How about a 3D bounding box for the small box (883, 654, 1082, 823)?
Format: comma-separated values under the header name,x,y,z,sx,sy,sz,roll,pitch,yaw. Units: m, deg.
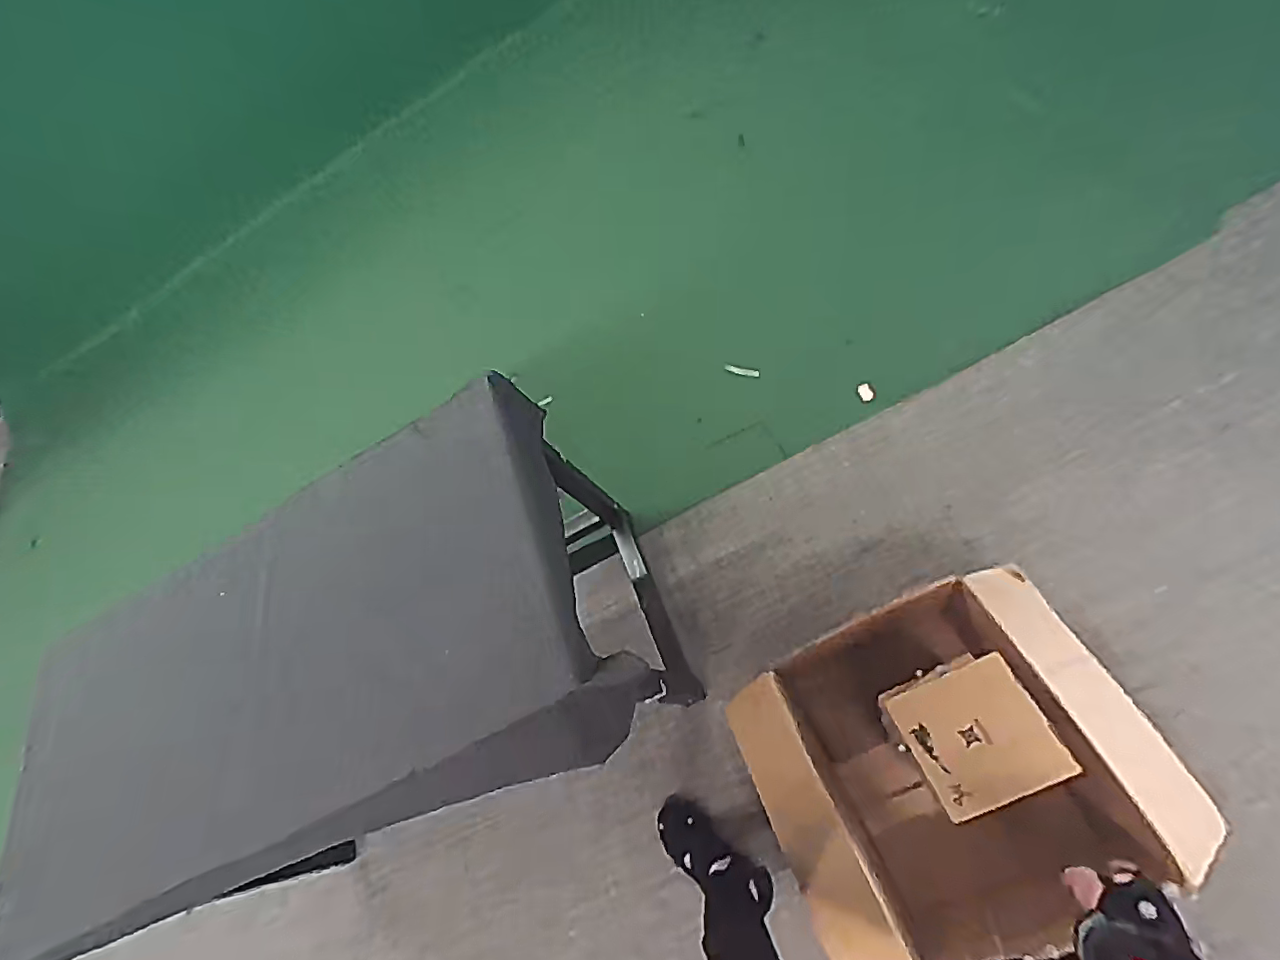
name,x,y,z,sx,sy,sz,roll,pitch,yaw
small box,0.486,0.377,0.805,0.179,0.176,0.168,-28,60,7
